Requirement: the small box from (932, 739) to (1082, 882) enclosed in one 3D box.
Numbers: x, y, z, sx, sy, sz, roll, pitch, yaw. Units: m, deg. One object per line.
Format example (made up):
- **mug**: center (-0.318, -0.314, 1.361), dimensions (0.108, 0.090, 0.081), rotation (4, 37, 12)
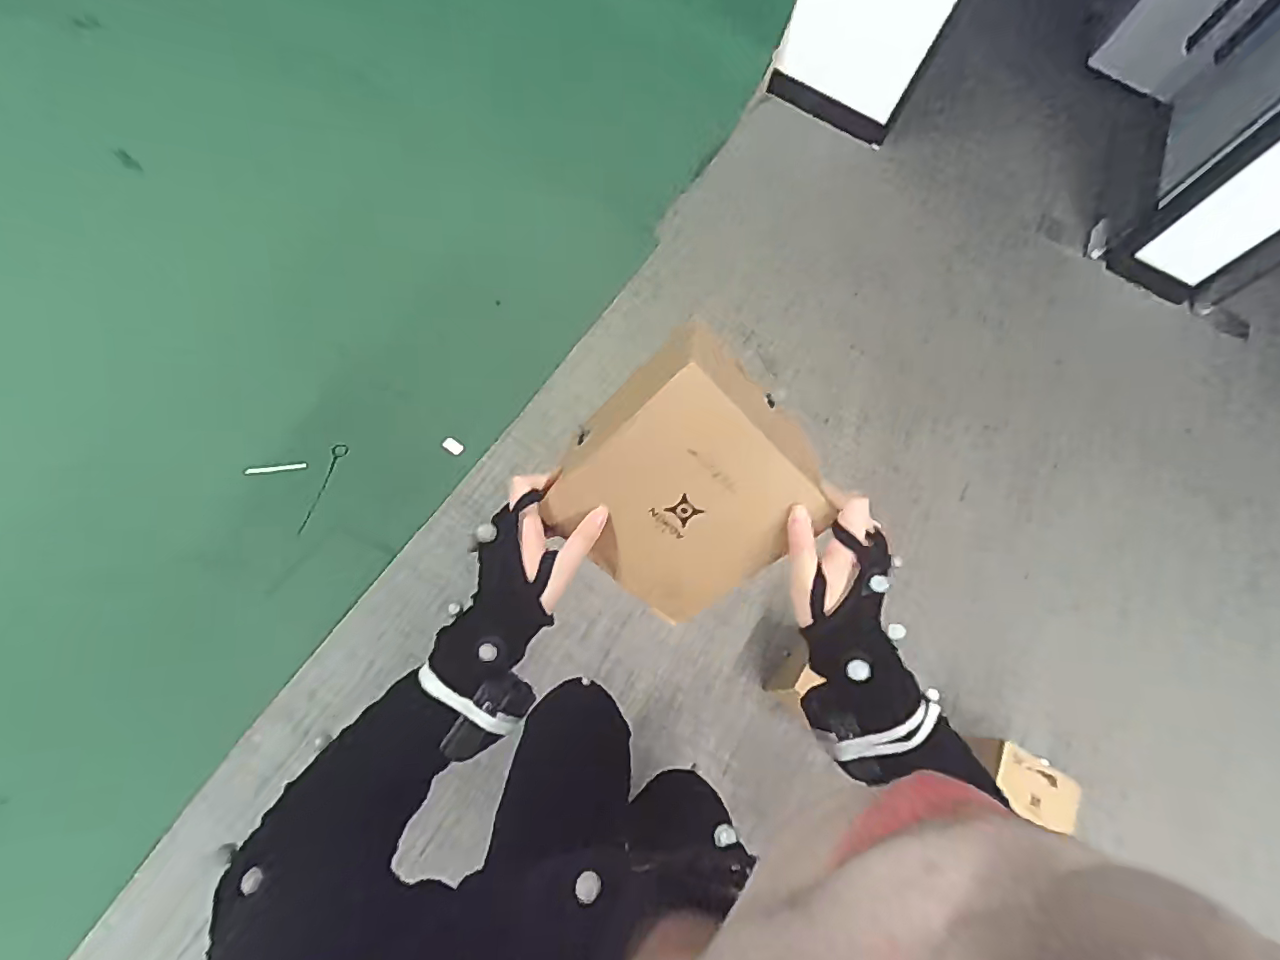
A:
- **small box**: center (0.727, 0.650, 1.089), dimensions (0.168, 0.176, 0.179), rotation (34, 66, 5)
